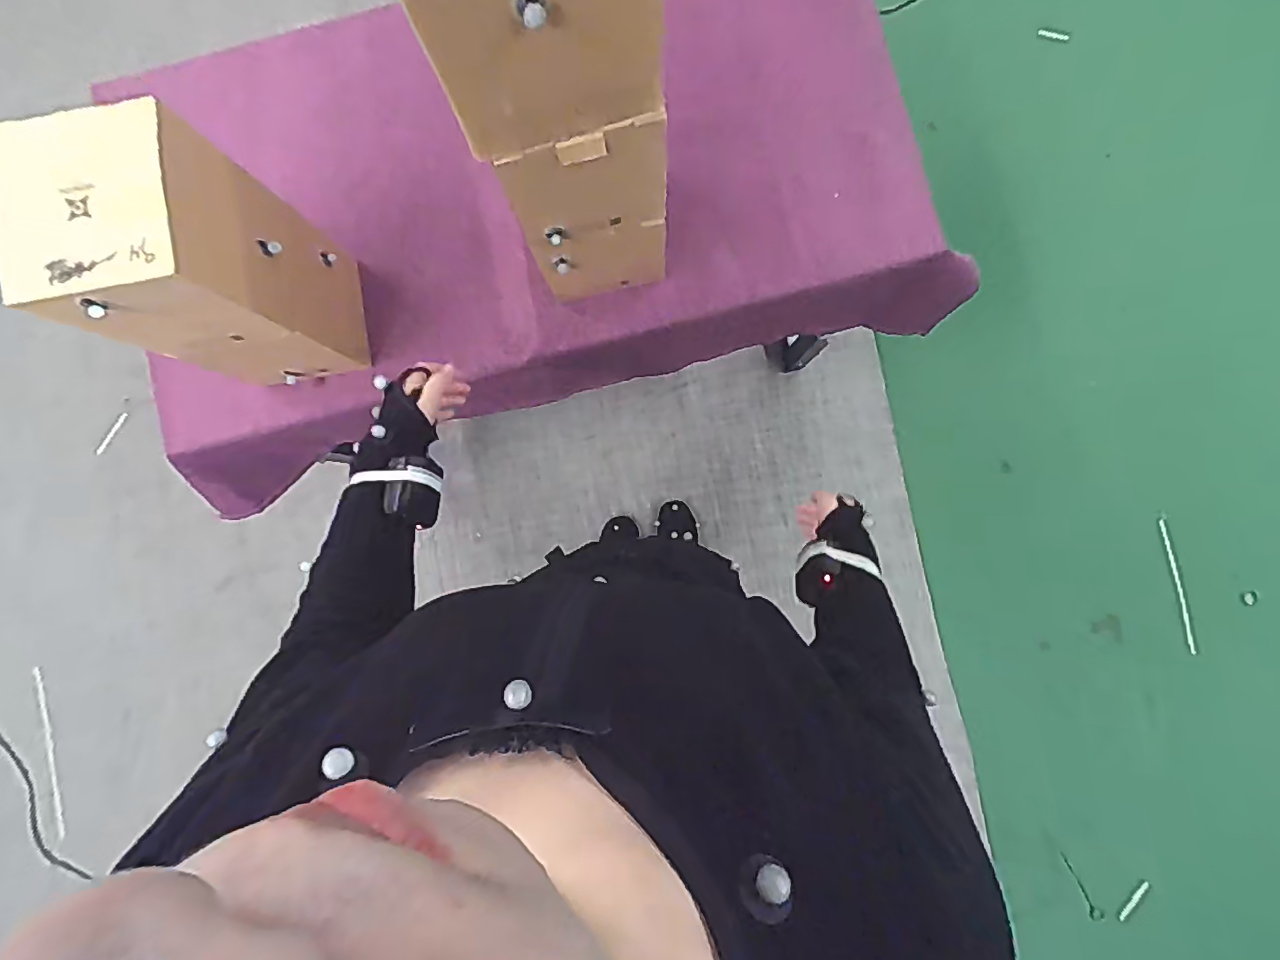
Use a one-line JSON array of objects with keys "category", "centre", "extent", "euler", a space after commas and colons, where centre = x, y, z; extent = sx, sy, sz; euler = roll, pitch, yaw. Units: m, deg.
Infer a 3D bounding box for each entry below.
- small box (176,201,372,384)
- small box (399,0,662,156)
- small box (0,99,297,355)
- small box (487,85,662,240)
[{"category": "small box", "centre": [-0.498, -0.245, 0.745], "extent": [0.168, 0.176, 0.179], "euler": [-9, 87, 2]}, {"category": "small box", "centre": [-0.084, -0.391, 0.408], "extent": [0.179, 0.176, 0.168], "euler": [-16, 86, 2]}, {"category": "small box", "centre": [-0.506, -0.253, 0.580], "extent": [0.168, 0.176, 0.179], "euler": [-9, 86, 3]}, {"category": "small box", "centre": [-0.074, -0.380, 0.571], "extent": [0.168, 0.176, 0.179], "euler": [-15, 85, 1]}]
